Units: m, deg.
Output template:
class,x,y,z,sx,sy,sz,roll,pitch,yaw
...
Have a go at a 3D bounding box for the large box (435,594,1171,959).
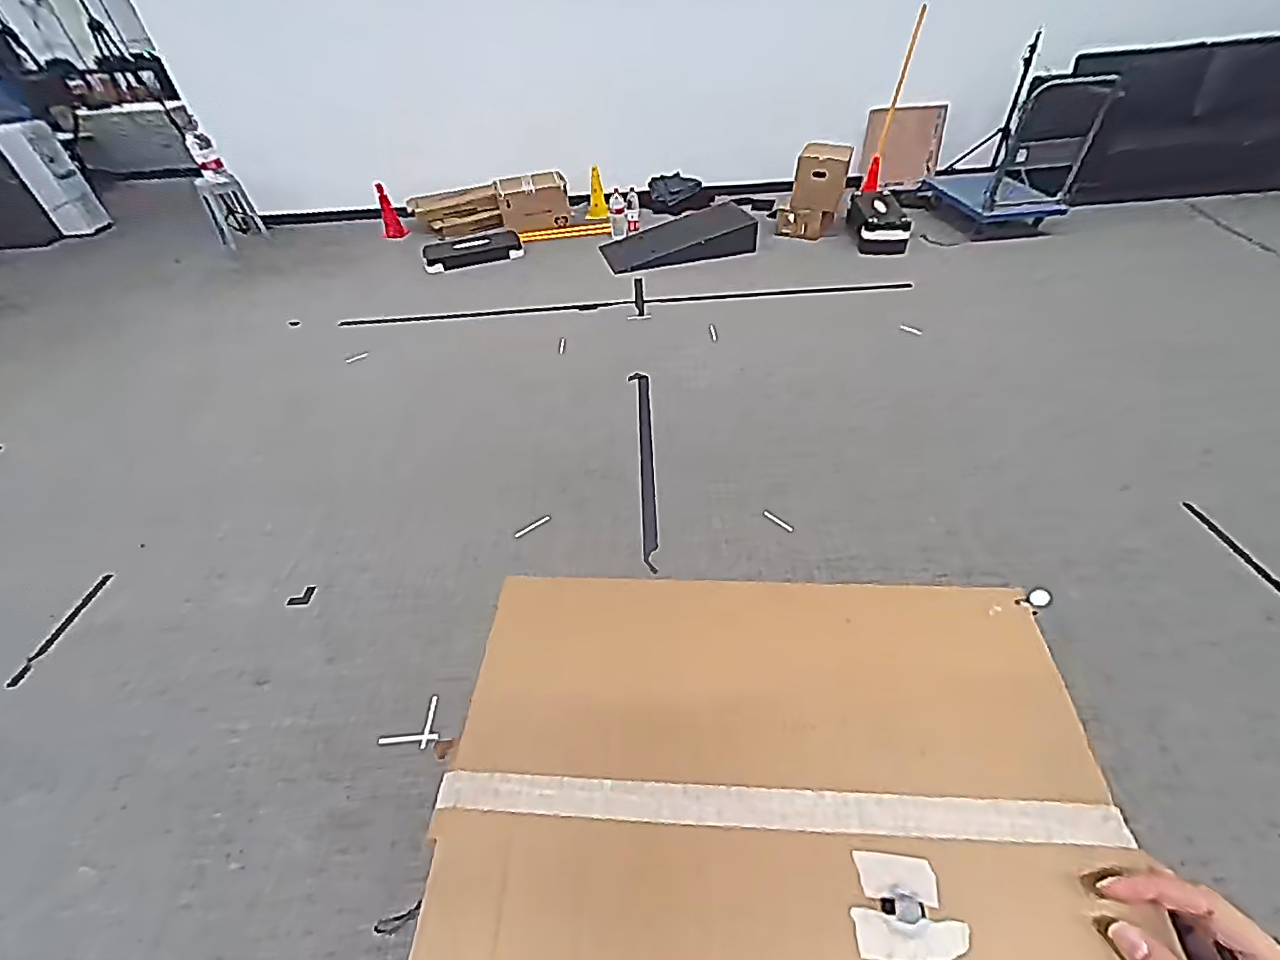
class,x,y,z,sx,sy,sz,roll,pitch,yaw
large box,0.092,0.307,0.449,0.408,0.320,0.320,1,51,4
